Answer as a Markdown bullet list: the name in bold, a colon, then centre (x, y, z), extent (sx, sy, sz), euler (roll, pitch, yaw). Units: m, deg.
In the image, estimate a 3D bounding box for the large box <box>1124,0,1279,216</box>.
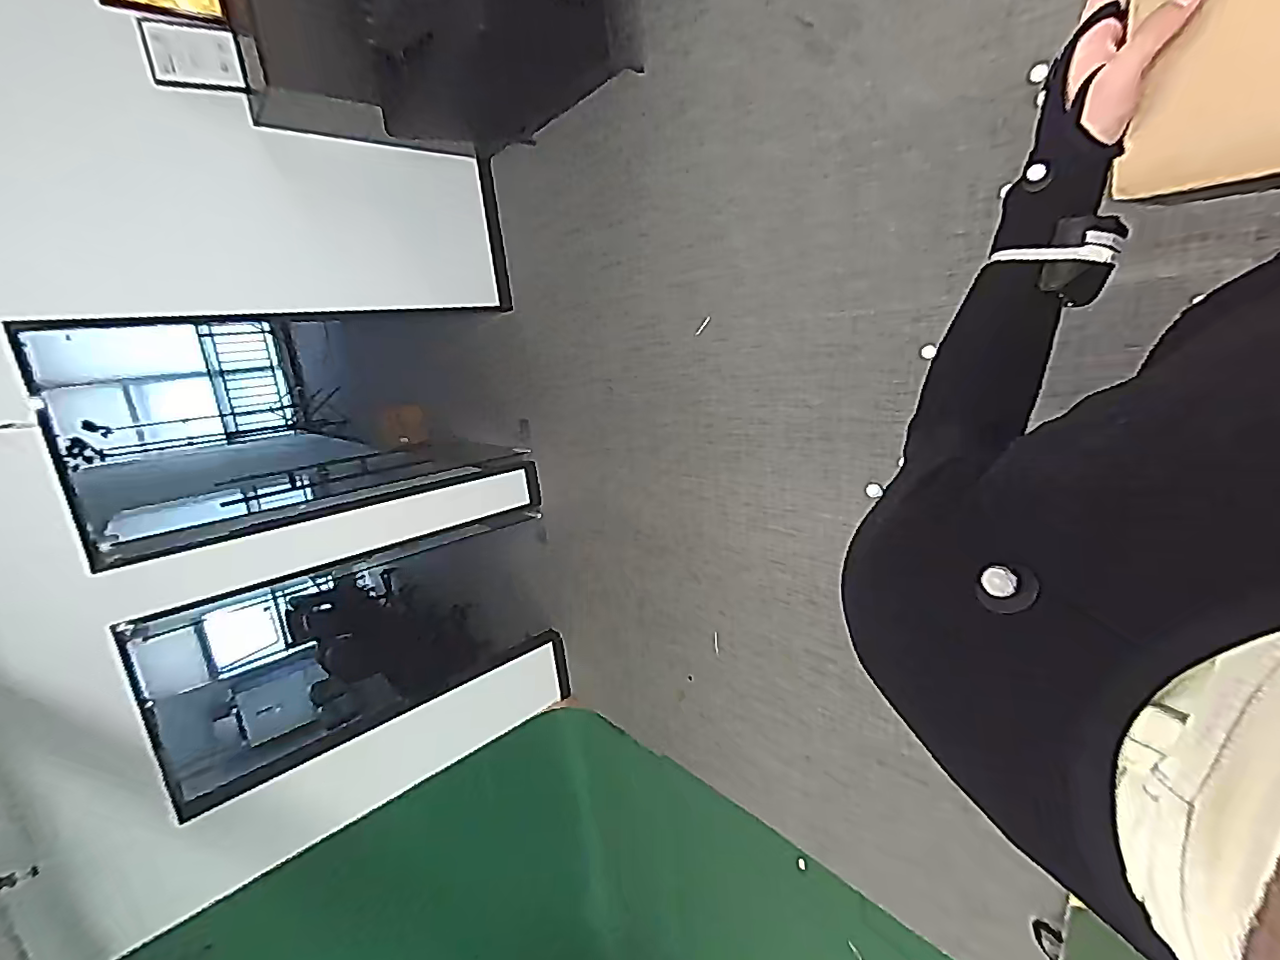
- **large box**: centre (0.617, -0.392, 0.357), extent (0.408, 0.320, 0.320), euler (10, 114, 46)
